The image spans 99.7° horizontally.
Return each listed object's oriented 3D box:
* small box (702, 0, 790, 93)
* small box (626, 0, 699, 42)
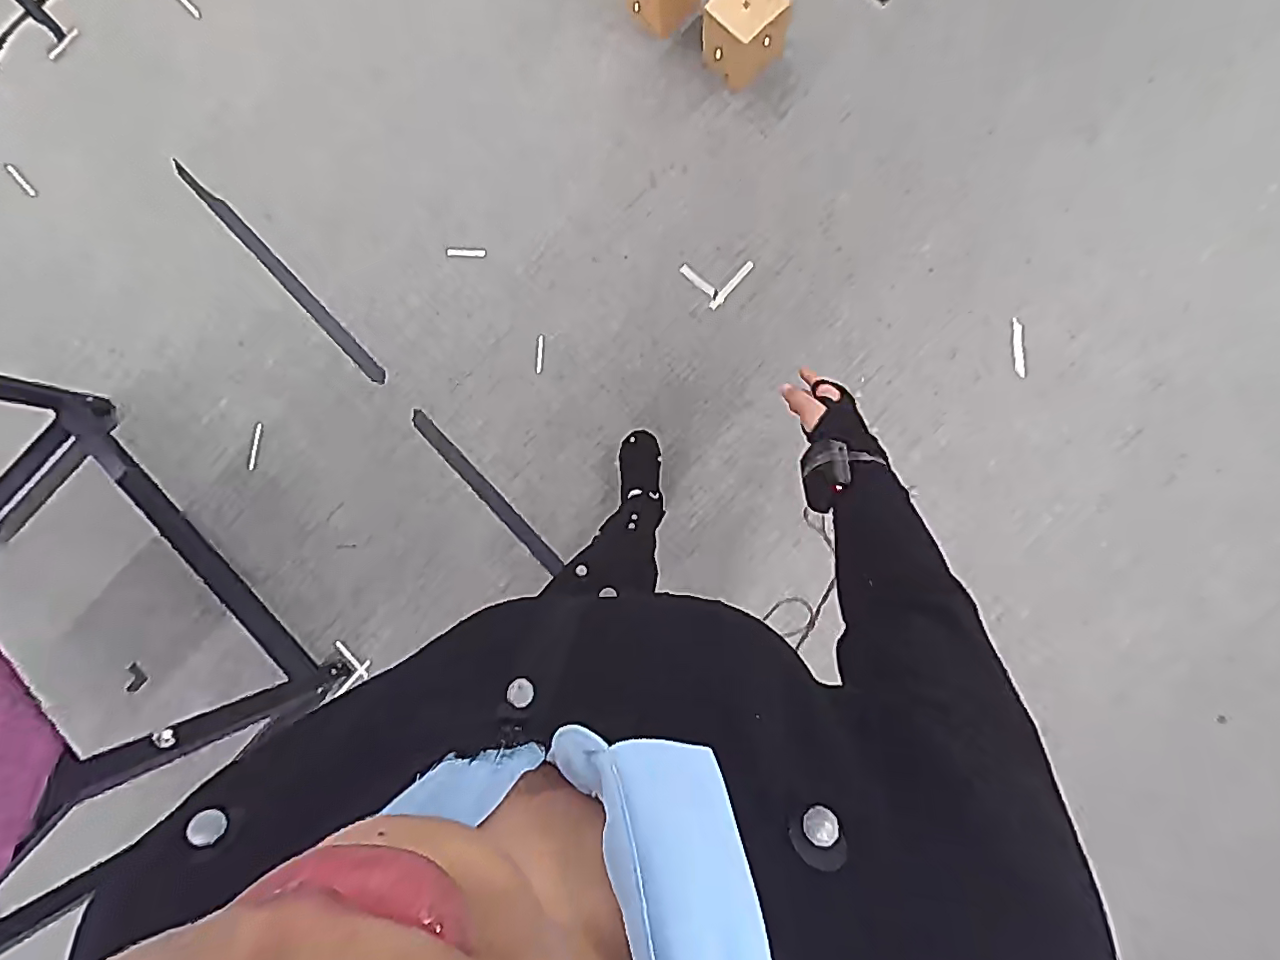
[{"bbox_3d":[0.293,-1.259,1.529,0.179,0.176,0.168,-42,83,0],"label":"small box"},{"bbox_3d":[0.064,-1.447,1.572,0.179,0.176,0.168,-43,82,0],"label":"small box"}]
